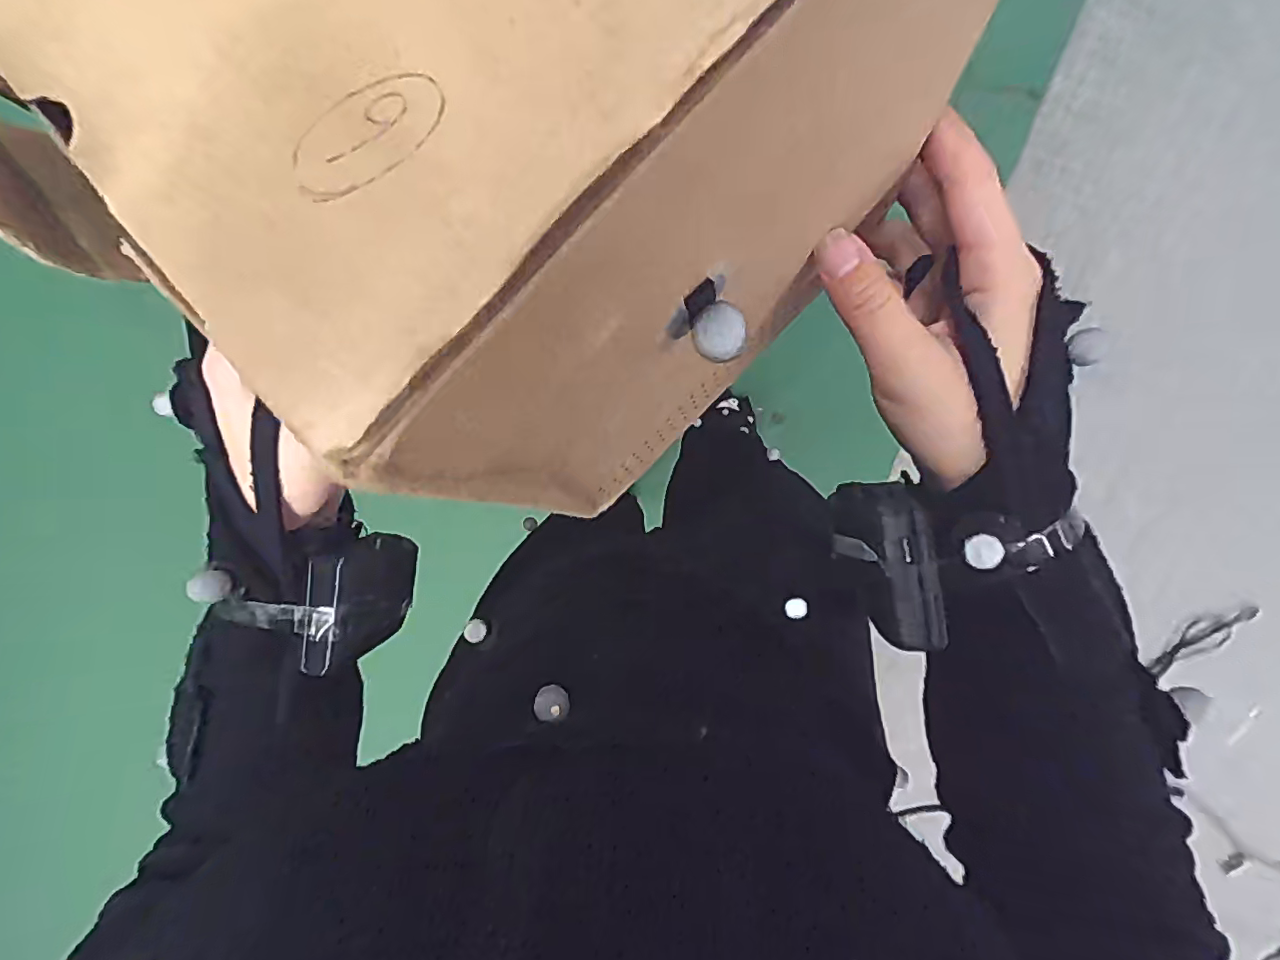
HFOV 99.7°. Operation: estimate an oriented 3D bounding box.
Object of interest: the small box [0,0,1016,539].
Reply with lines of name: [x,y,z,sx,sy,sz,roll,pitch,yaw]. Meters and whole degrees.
small box: [-0.023,-0.095,0.184,0.179,0.176,0.168,-44,81,1]
